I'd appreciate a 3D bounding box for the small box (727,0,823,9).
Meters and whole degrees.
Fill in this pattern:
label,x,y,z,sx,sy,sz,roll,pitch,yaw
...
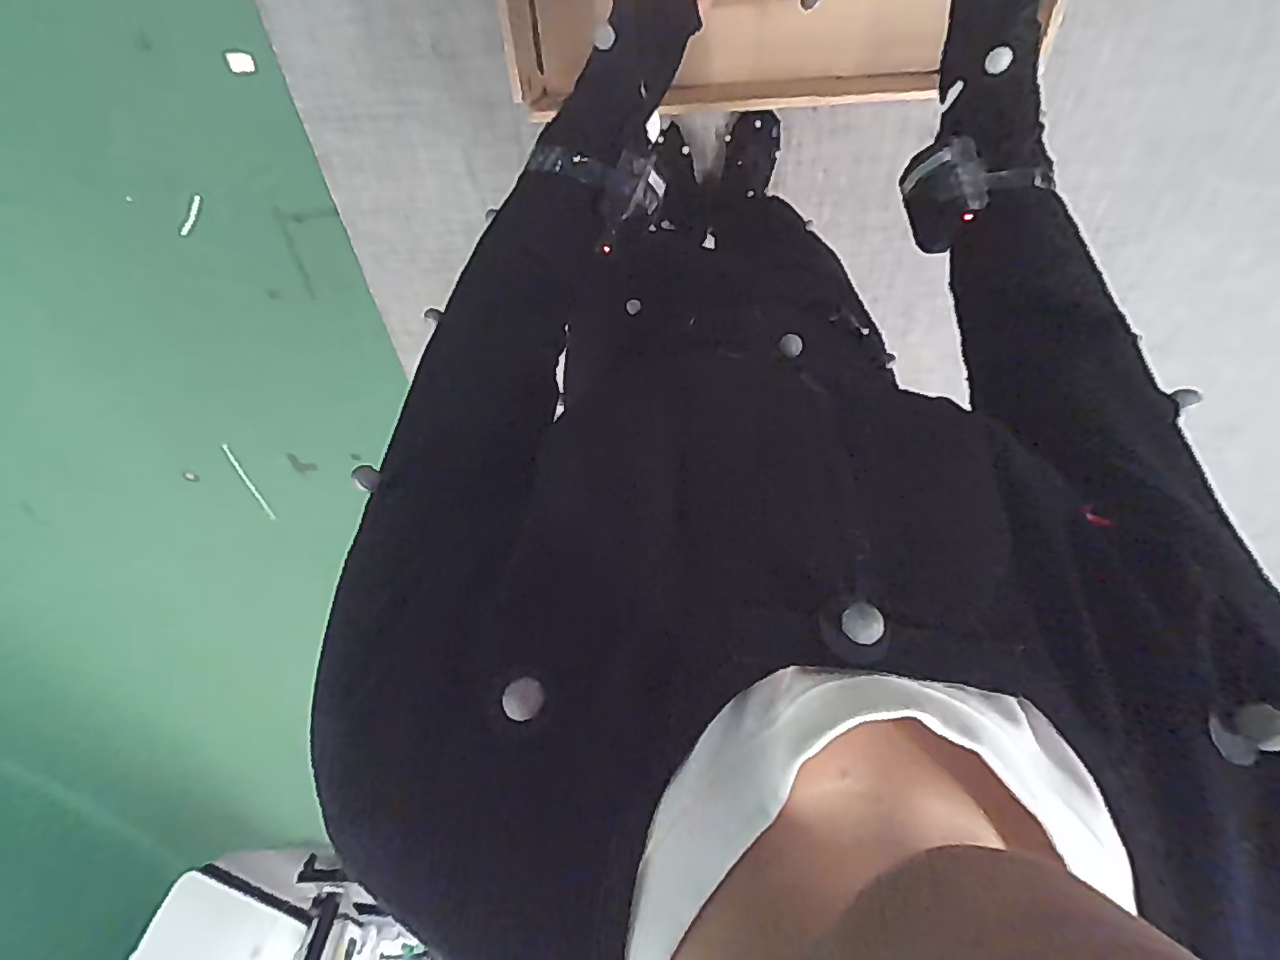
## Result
label,x,y,z,sx,sy,sz,roll,pitch,yaw
small box,0.155,-0.517,0.452,0.168,0.176,0.179,-4,130,3
